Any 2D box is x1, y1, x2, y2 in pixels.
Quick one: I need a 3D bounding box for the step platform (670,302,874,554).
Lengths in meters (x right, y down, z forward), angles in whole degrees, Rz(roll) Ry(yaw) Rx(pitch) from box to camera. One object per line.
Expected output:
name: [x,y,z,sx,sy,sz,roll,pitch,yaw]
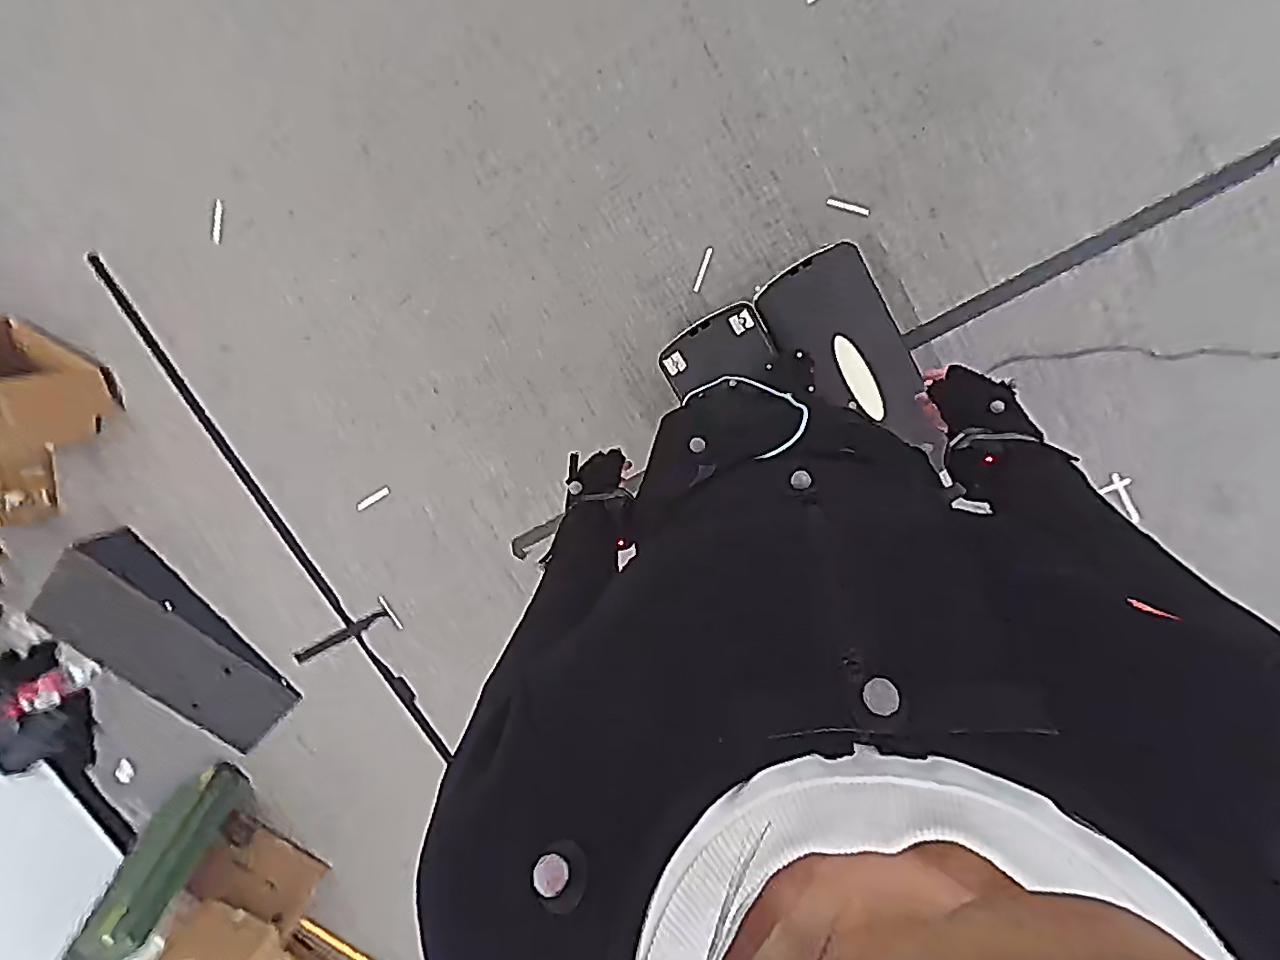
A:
step platform: [0.361,-0.136,1.493,0.286,0.204,0.684,-30,96,17]
